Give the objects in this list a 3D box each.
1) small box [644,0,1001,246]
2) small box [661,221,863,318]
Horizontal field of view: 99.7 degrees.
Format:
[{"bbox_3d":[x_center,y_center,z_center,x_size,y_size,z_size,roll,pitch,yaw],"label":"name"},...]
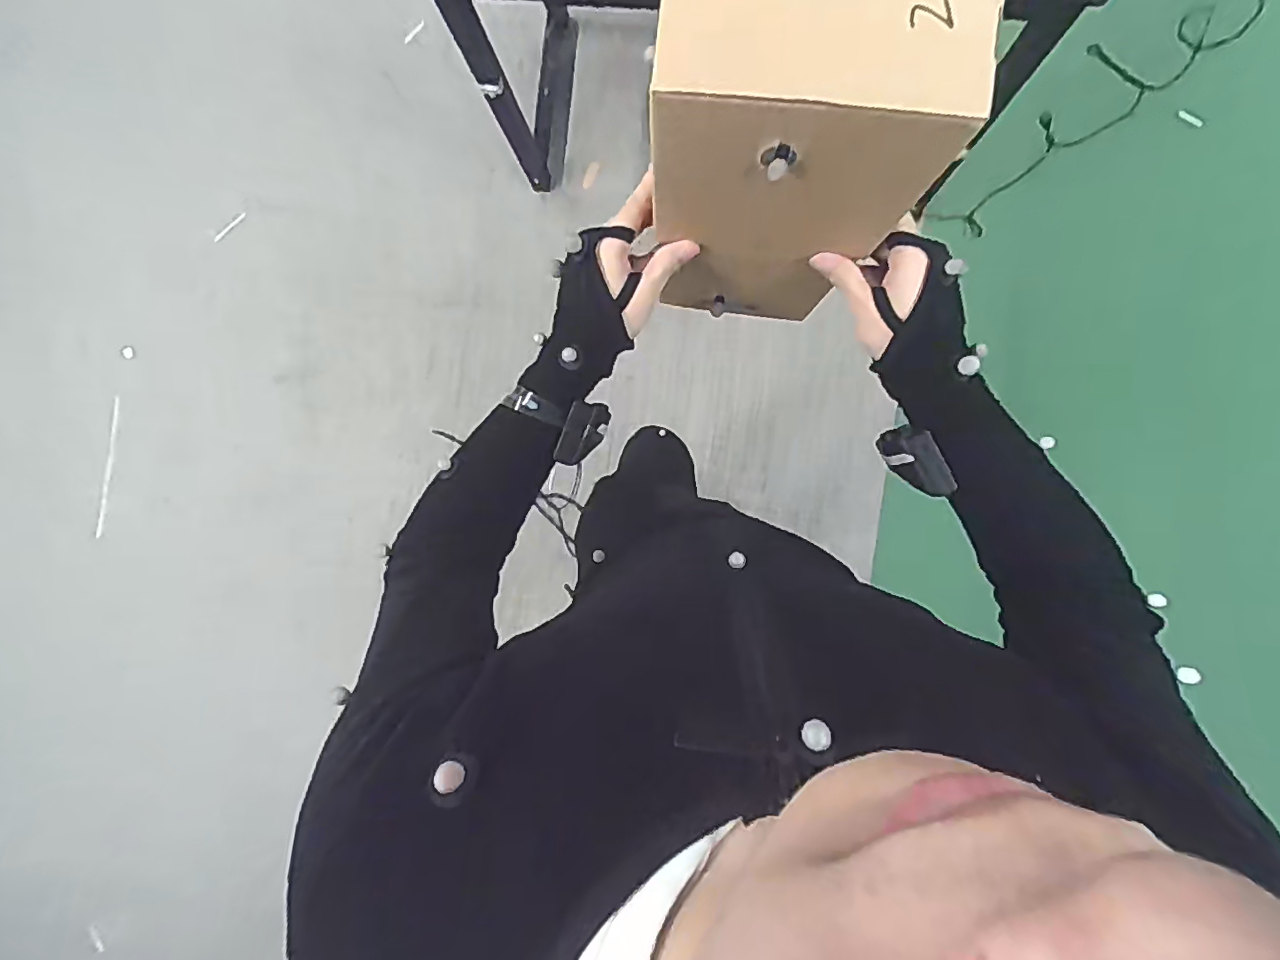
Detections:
[{"bbox_3d":[0.102,-0.273,0.354,0.179,0.176,0.168,7,90,3],"label":"small box"},{"bbox_3d":[0.111,-0.275,0.518,0.168,0.176,0.179,7,90,3],"label":"small box"}]
